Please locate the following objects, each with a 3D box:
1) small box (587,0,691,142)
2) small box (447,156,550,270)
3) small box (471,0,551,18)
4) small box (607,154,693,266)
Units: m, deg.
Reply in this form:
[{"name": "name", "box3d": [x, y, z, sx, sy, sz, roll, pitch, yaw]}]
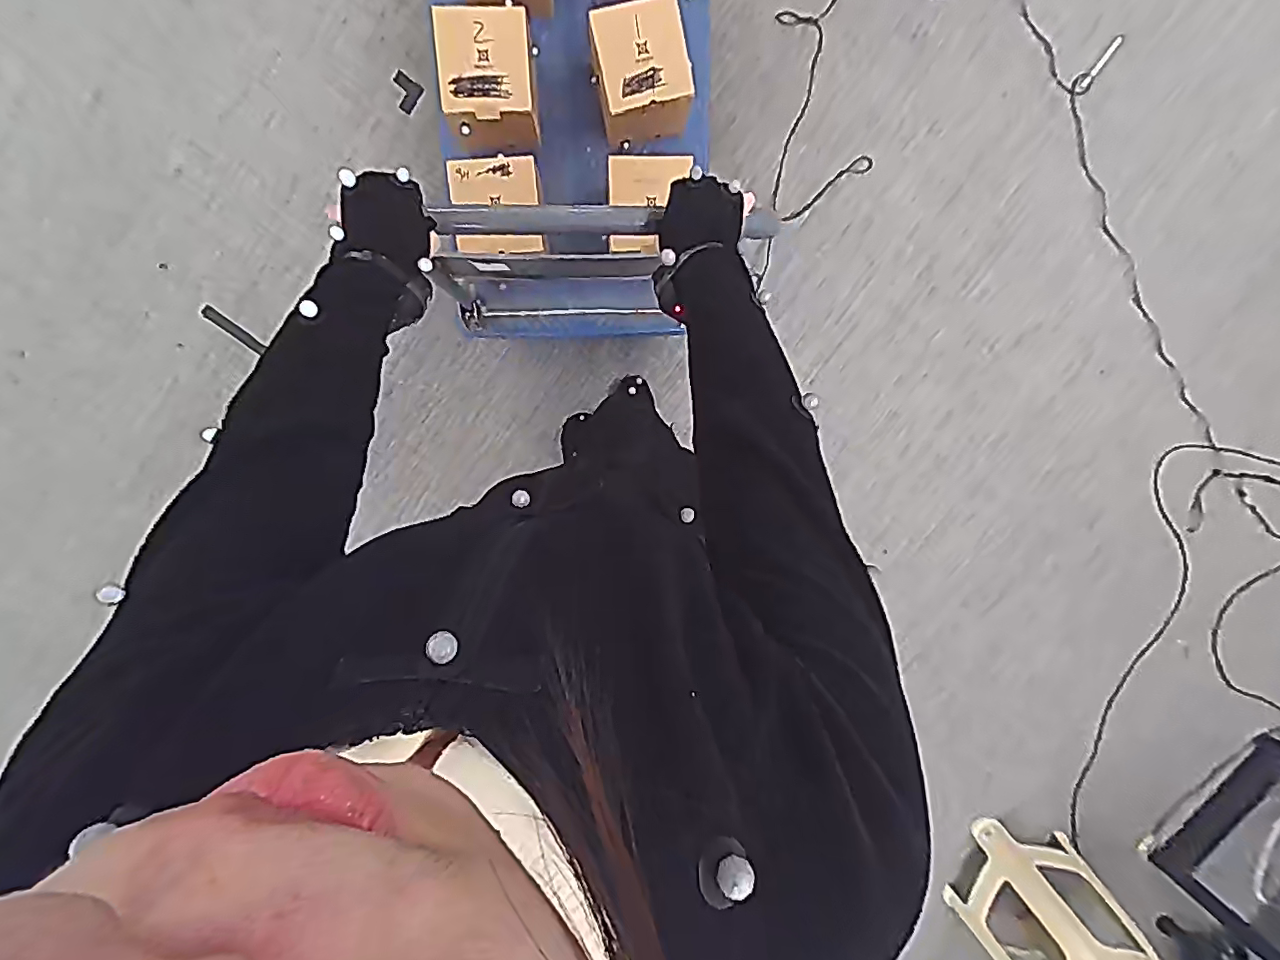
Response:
[{"name": "small box", "box3d": [-0.003, -0.804, 1.078, 0.168, 0.176, 0.179, -14, 101, -2]}, {"name": "small box", "box3d": [-0.281, -0.536, 1.109, 0.168, 0.176, 0.179, -6, 102, -4]}, {"name": "small box", "box3d": [-0.256, -1.026, 1.015, 0.168, 0.176, 0.179, 0, 102, -4]}, {"name": "small box", "box3d": [0.016, -0.552, 1.129, 0.168, 0.176, 0.179, -1, 100, -4]}]
